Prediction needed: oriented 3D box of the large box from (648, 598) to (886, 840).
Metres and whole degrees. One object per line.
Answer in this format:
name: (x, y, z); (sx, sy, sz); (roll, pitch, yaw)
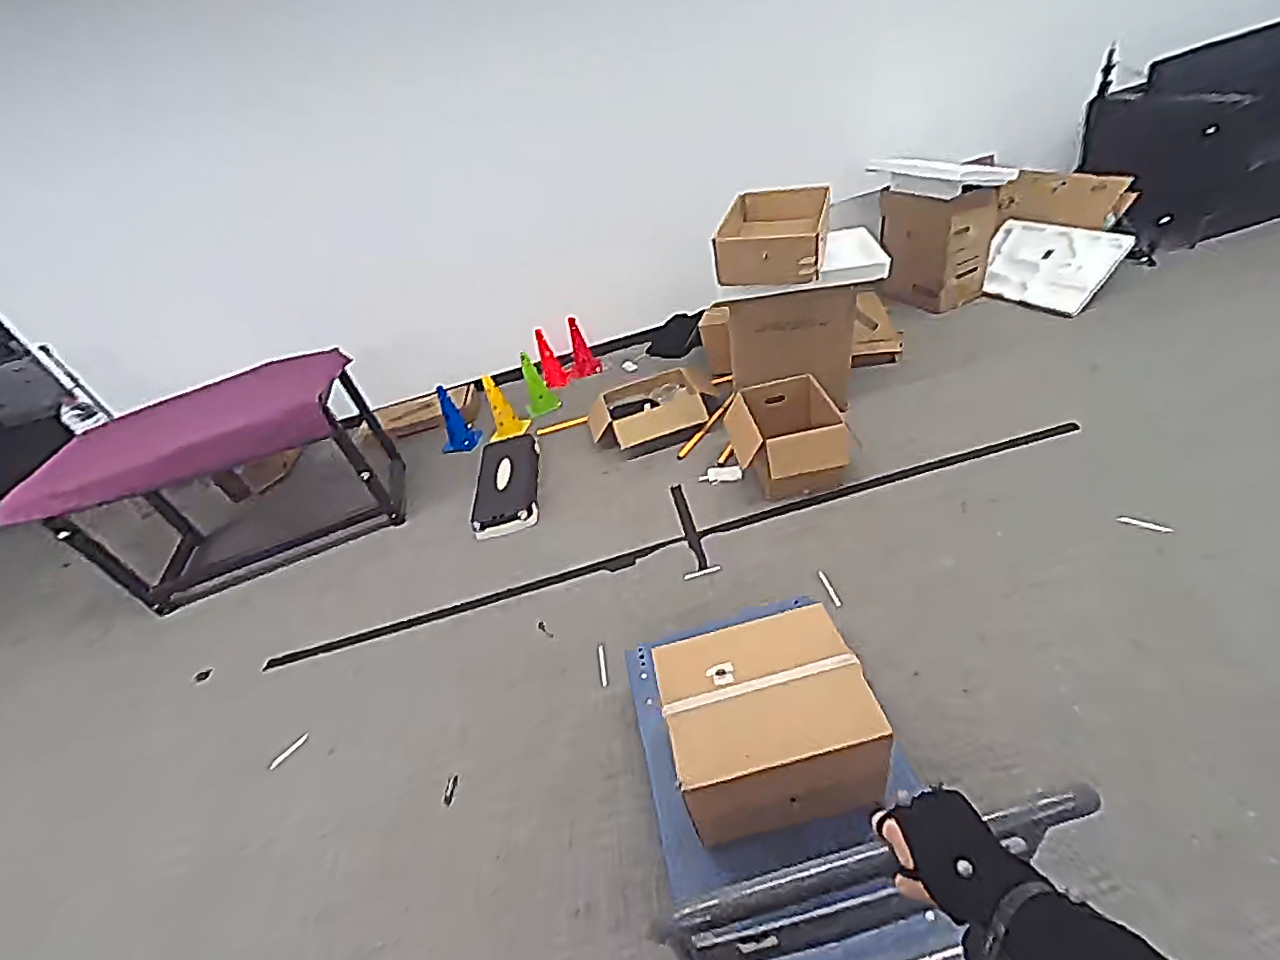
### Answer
large box: (0.269, 0.522, 1.189); (0.408, 0.320, 0.320); (-17, 37, 1)
